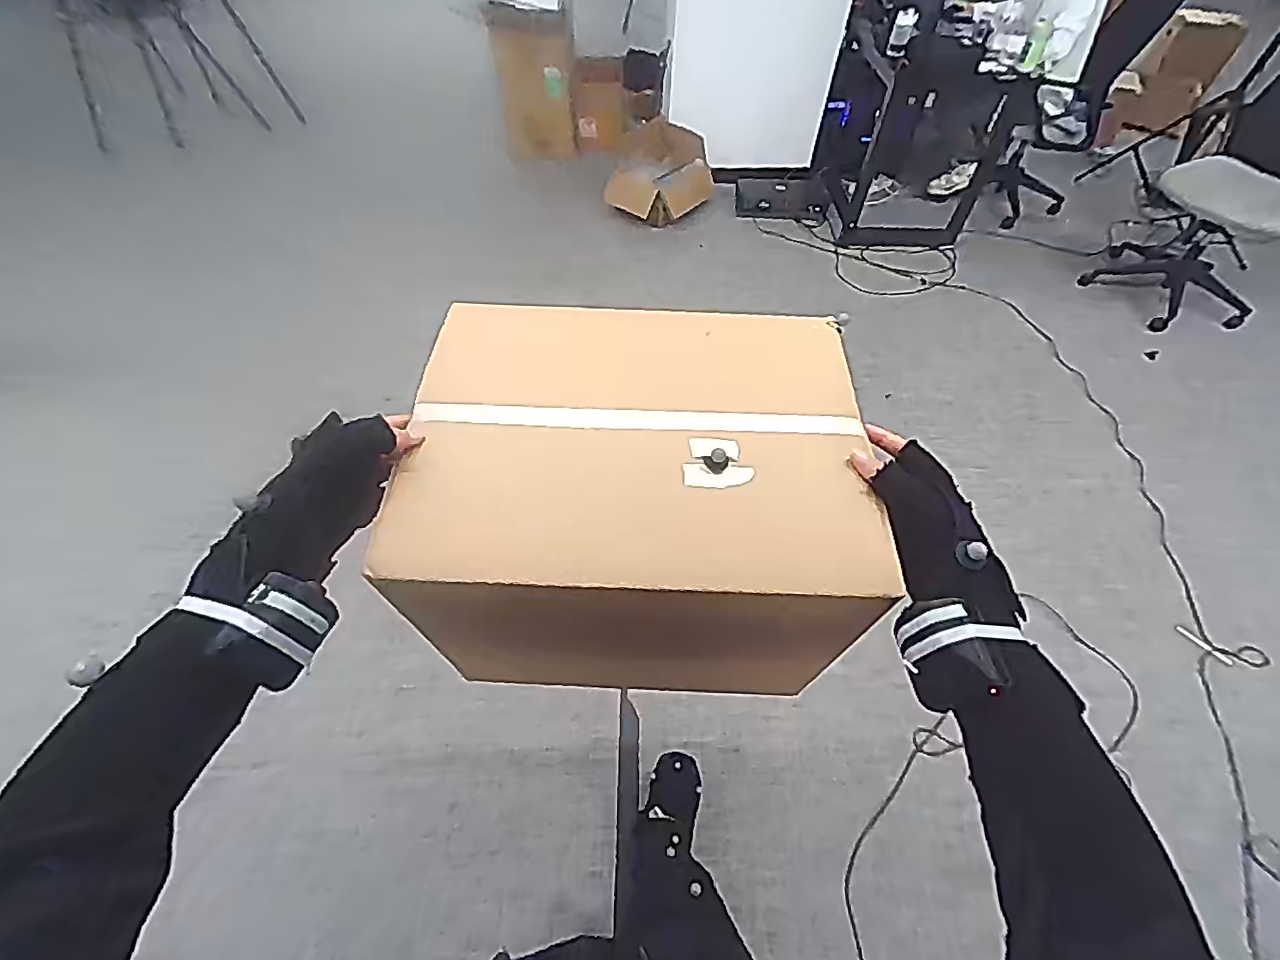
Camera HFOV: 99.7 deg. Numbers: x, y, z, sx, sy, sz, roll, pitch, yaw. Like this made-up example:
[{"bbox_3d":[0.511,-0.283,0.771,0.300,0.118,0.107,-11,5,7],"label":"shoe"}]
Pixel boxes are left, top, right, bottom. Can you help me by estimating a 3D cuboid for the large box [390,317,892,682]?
[{"bbox_3d":[-0.001,0.037,0.626,0.408,0.320,0.320,2,56,0],"label":"large box"}]
